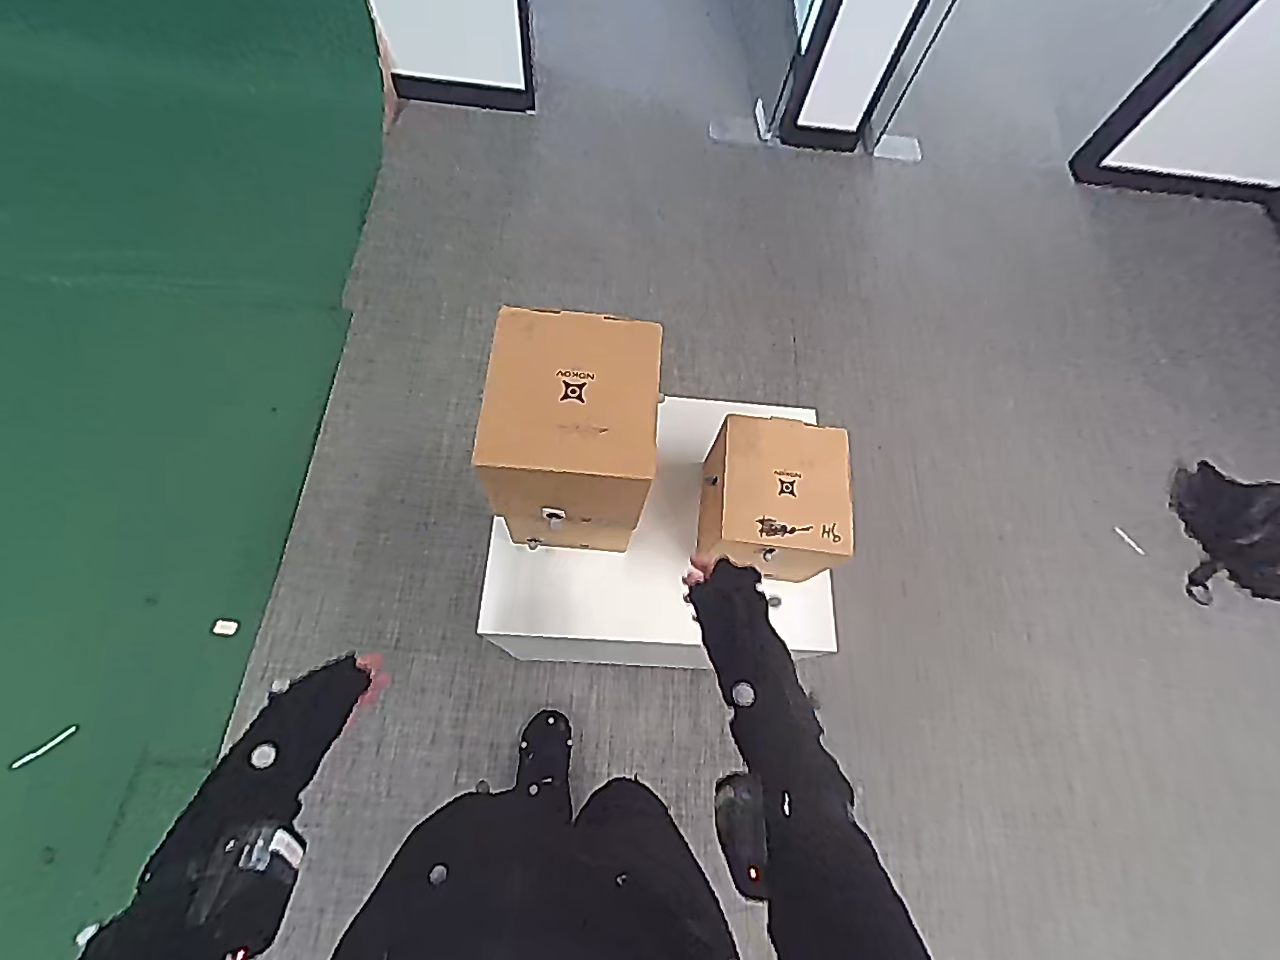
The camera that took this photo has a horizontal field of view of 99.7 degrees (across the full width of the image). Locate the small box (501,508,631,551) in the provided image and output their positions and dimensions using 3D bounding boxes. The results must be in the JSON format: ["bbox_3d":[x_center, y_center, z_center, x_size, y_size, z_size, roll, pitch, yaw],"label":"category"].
[{"bbox_3d":[-0.088,-0.006,0.751,0.168,0.176,0.179,5,67,-5],"label":"small box"}]

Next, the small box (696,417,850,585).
[{"bbox_3d":[0.177,0.036,0.762,0.168,0.176,0.179,8,67,-2],"label":"small box"}]

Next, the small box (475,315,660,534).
[{"bbox_3d":[-0.072,-0.052,0.596,0.168,0.176,0.179,4,69,-4],"label":"small box"}]
